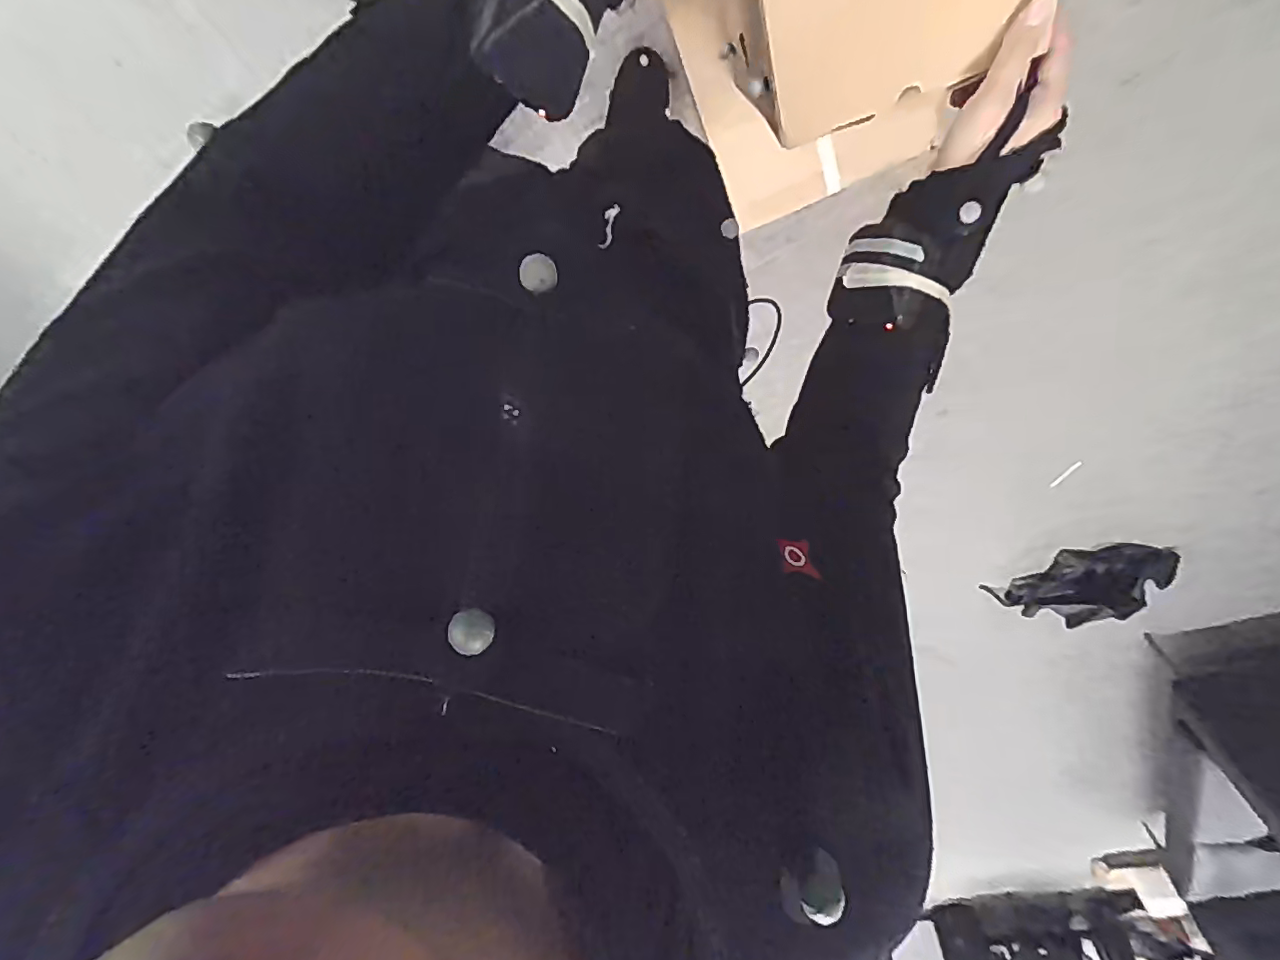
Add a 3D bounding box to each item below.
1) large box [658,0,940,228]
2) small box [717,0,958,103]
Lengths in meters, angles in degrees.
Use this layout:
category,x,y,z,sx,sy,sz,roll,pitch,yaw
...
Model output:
category,x,y,z,sx,sy,sz,roll,pitch,yaw
large box,0.221,-0.690,0.835,0.320,0.320,0.408,-18,128,18
small box,0.157,-0.476,0.485,0.179,0.176,0.168,-17,130,14
